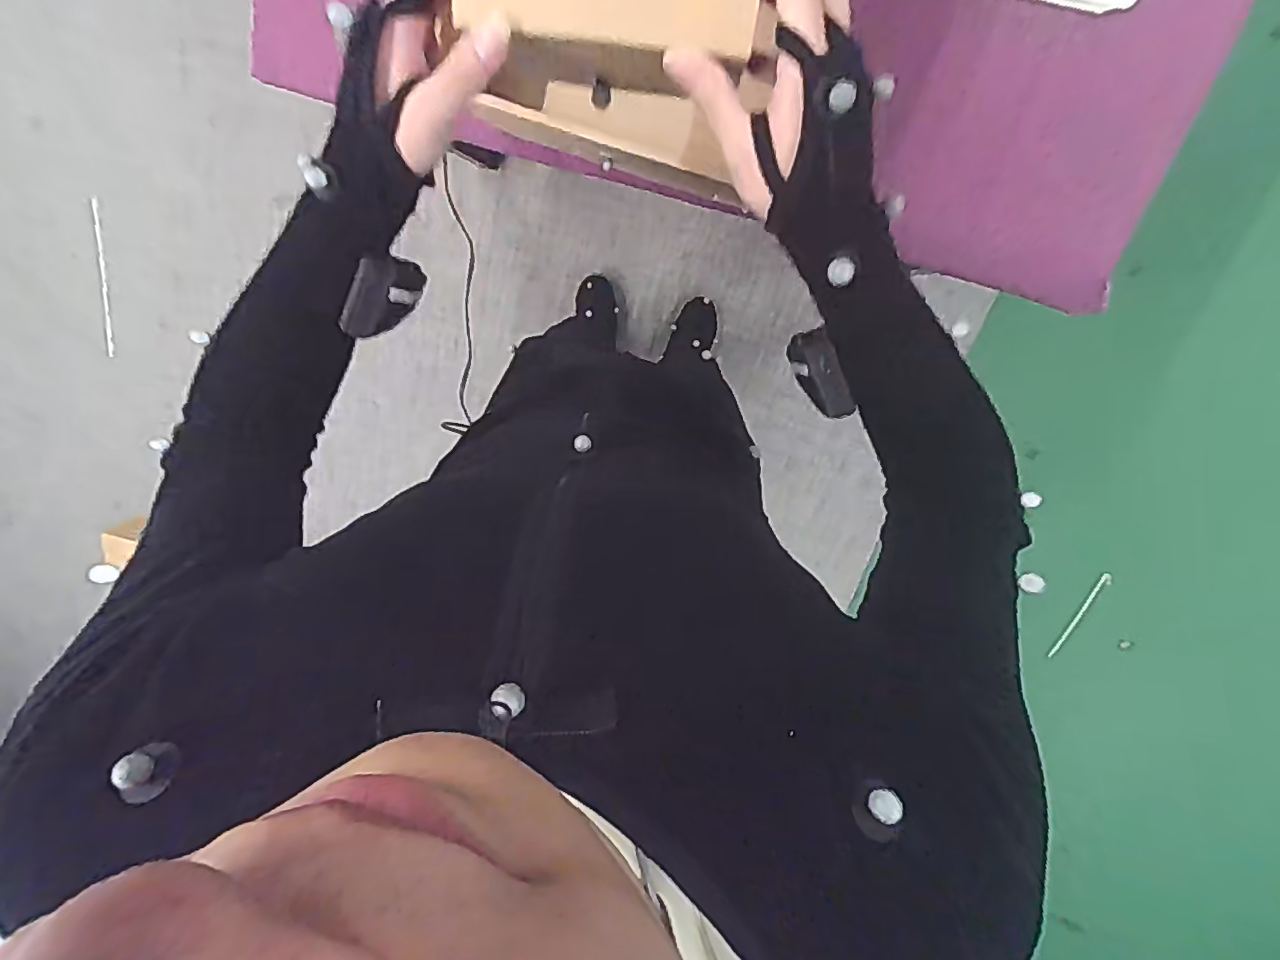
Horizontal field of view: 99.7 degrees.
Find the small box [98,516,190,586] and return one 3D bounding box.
[{"bbox_3d":[-1.713,0.241,1.882,0.179,0.176,0.168,13,110,2],"label":"small box"}]

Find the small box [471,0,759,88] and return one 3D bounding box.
[{"bbox_3d":[-0.005,-0.358,0.317,0.168,0.176,0.179,8,119,1],"label":"small box"}]
